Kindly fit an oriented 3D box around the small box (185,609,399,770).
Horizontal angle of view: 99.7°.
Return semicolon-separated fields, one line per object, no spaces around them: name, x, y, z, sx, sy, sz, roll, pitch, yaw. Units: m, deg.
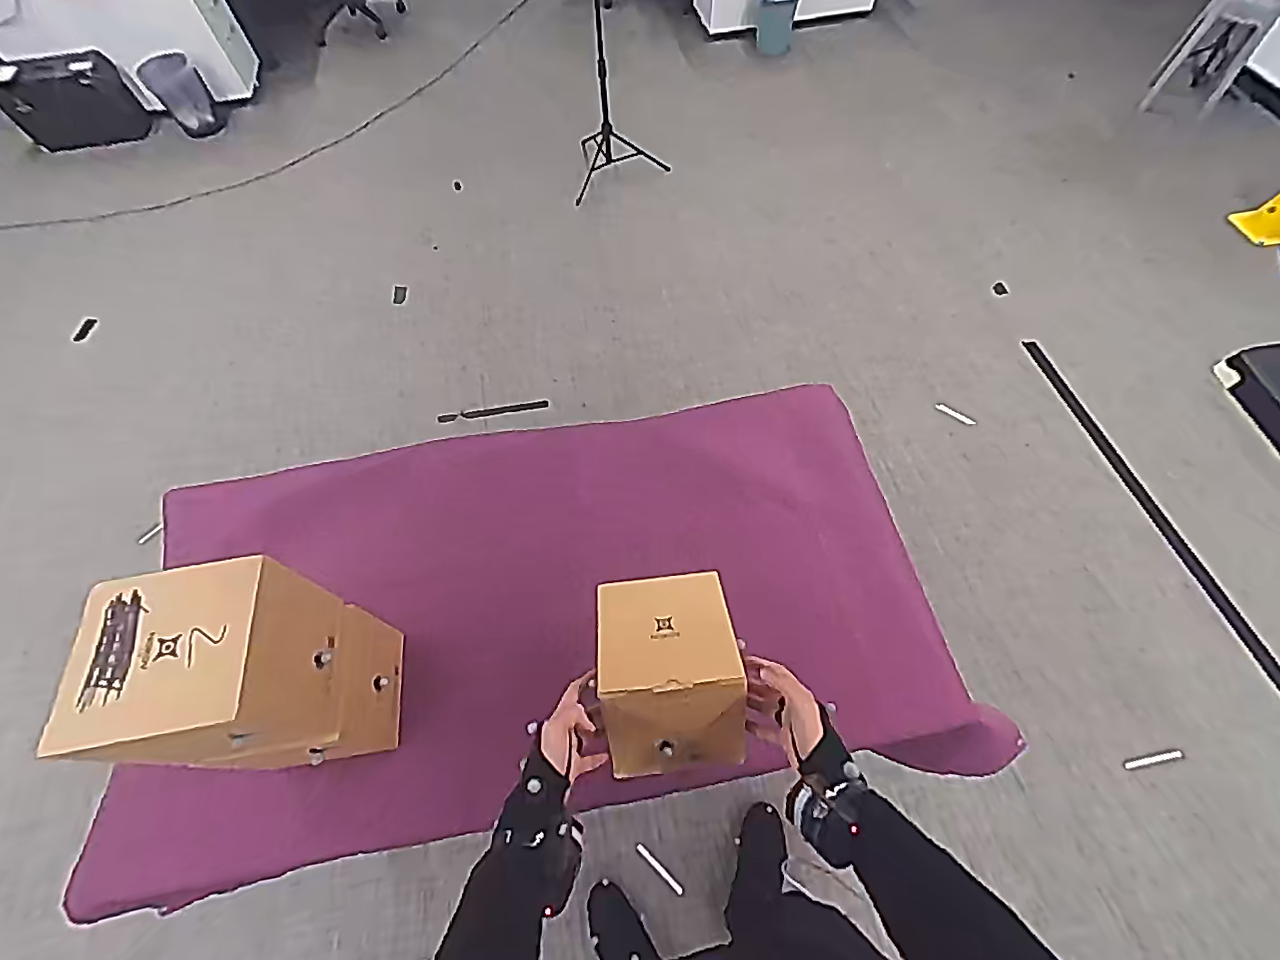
small box;-0.446;0.287;0.730;0.179;0.176;0.168;-9;61;-3

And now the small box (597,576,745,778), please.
small box;0.033;0.250;0.700;0.168;0.176;0.179;-6;34;-1
